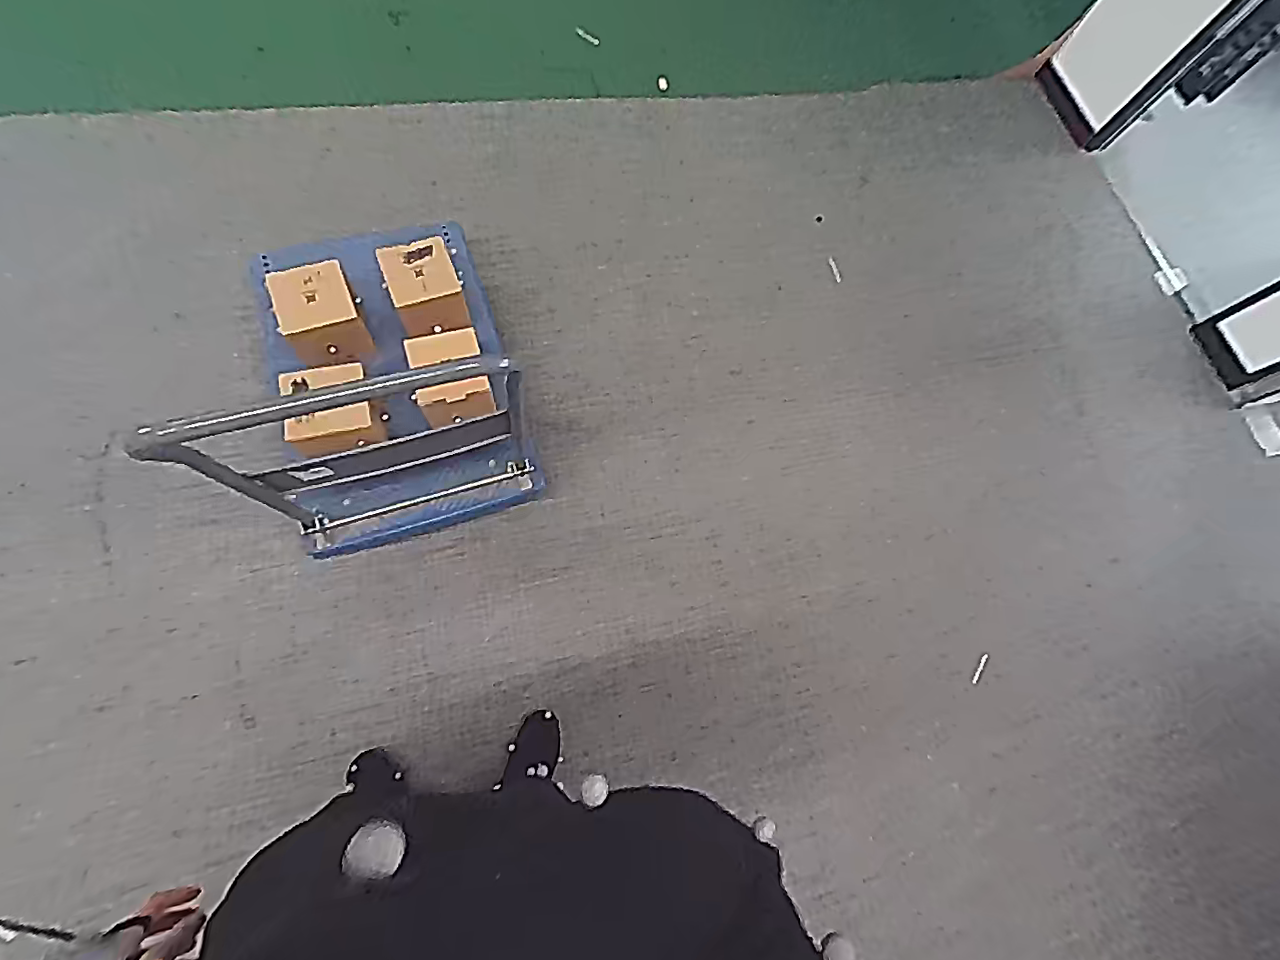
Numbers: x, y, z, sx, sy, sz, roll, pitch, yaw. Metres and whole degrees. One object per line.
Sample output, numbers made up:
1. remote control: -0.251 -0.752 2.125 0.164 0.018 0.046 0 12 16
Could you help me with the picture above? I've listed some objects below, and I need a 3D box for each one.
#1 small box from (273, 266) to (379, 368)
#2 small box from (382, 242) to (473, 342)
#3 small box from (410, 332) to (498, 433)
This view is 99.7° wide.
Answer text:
1. small box: -0.784 -0.402 1.369 0.168 0.176 0.179 -20 76 -16
2. small box: -0.557 -0.489 1.433 0.168 0.176 0.179 -21 77 -14
3. small box: -0.465 -0.243 1.369 0.168 0.176 0.179 -16 76 -14
